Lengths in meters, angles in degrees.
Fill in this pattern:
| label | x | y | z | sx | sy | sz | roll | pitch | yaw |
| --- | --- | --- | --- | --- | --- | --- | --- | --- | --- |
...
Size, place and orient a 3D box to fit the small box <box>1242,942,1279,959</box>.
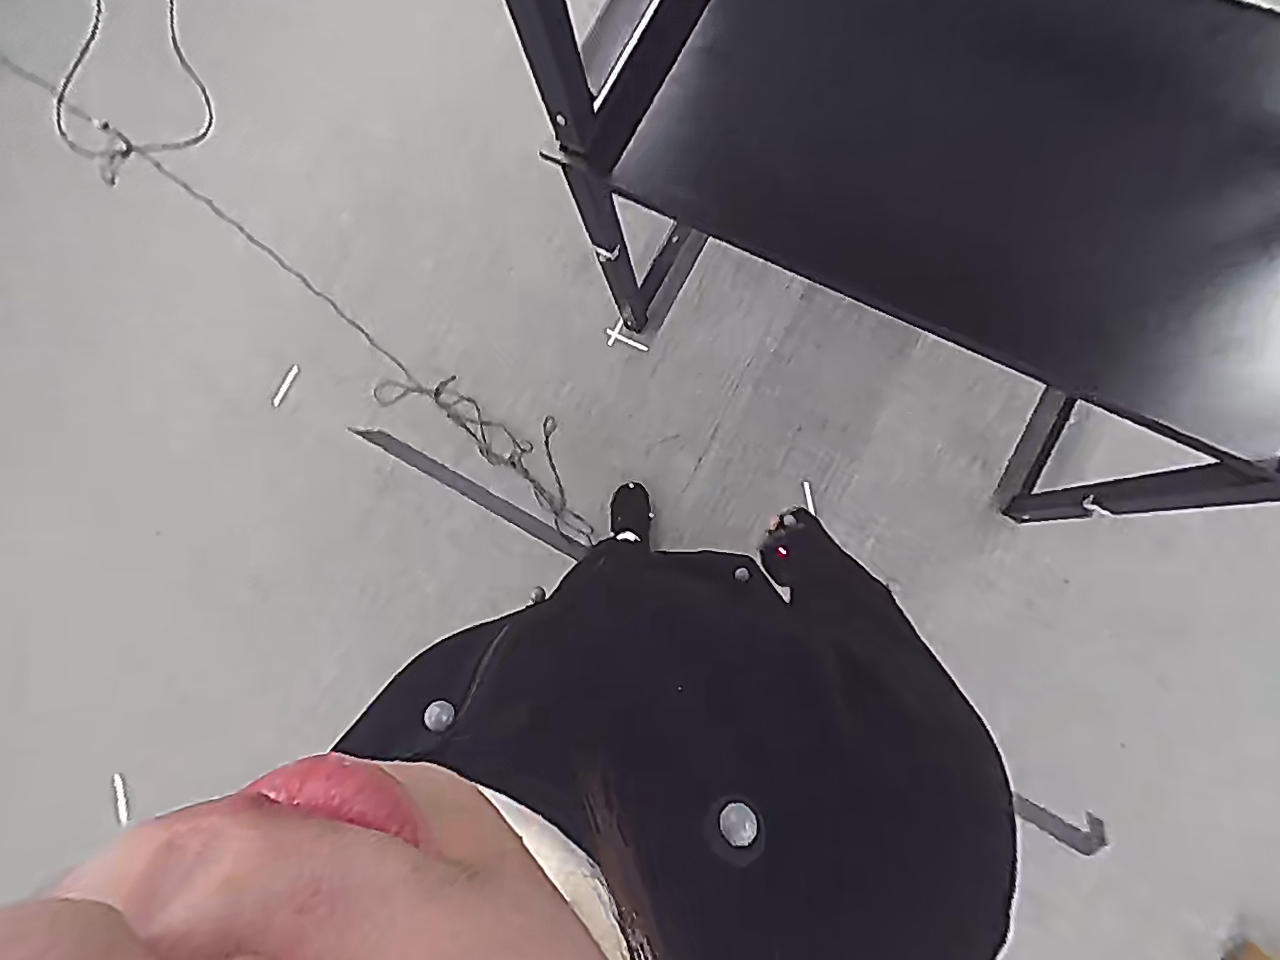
| label | x | y | z | sx | sy | sz | roll | pitch | yaw |
| --- | --- | --- | --- | --- | --- | --- | --- | --- | --- |
| small box | 1.389 | 1.134 | 1.118 | 0.168 | 0.176 | 0.179 | 27 | 89 | 10 |
